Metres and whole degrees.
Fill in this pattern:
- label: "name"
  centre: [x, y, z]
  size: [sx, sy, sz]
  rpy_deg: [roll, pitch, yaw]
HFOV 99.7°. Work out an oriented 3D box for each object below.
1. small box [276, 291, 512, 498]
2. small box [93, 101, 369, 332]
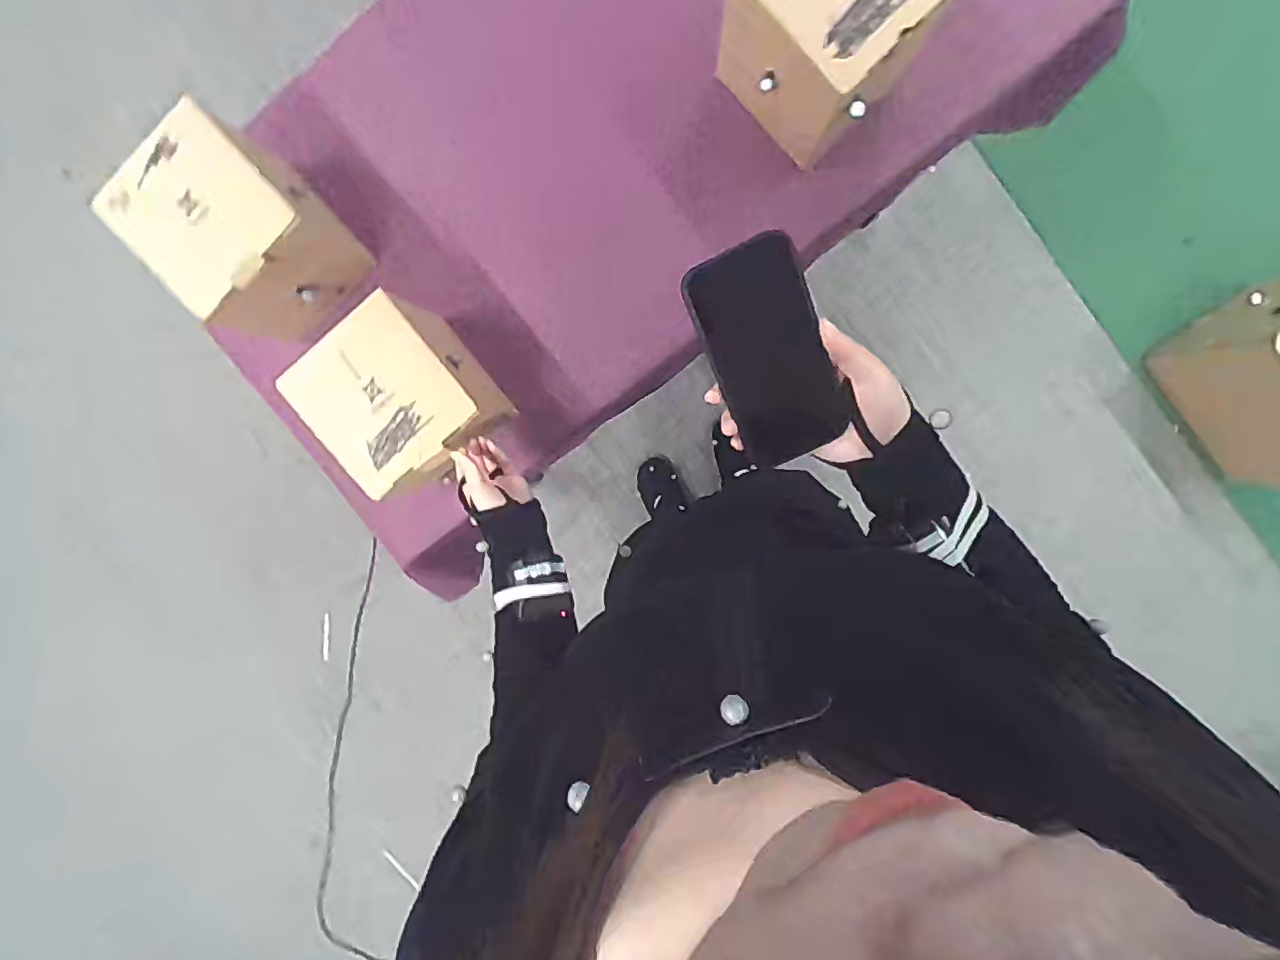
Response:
- label: "small box"
  centre: [-0.292, -0.102, 0.684]
  size: [0.168, 0.176, 0.179]
  rpy_deg: [-39, 91, 6]
- label: "small box"
  centre: [-0.485, -0.303, 0.673]
  size: [0.168, 0.176, 0.179]
  rpy_deg: [-42, 94, 6]
